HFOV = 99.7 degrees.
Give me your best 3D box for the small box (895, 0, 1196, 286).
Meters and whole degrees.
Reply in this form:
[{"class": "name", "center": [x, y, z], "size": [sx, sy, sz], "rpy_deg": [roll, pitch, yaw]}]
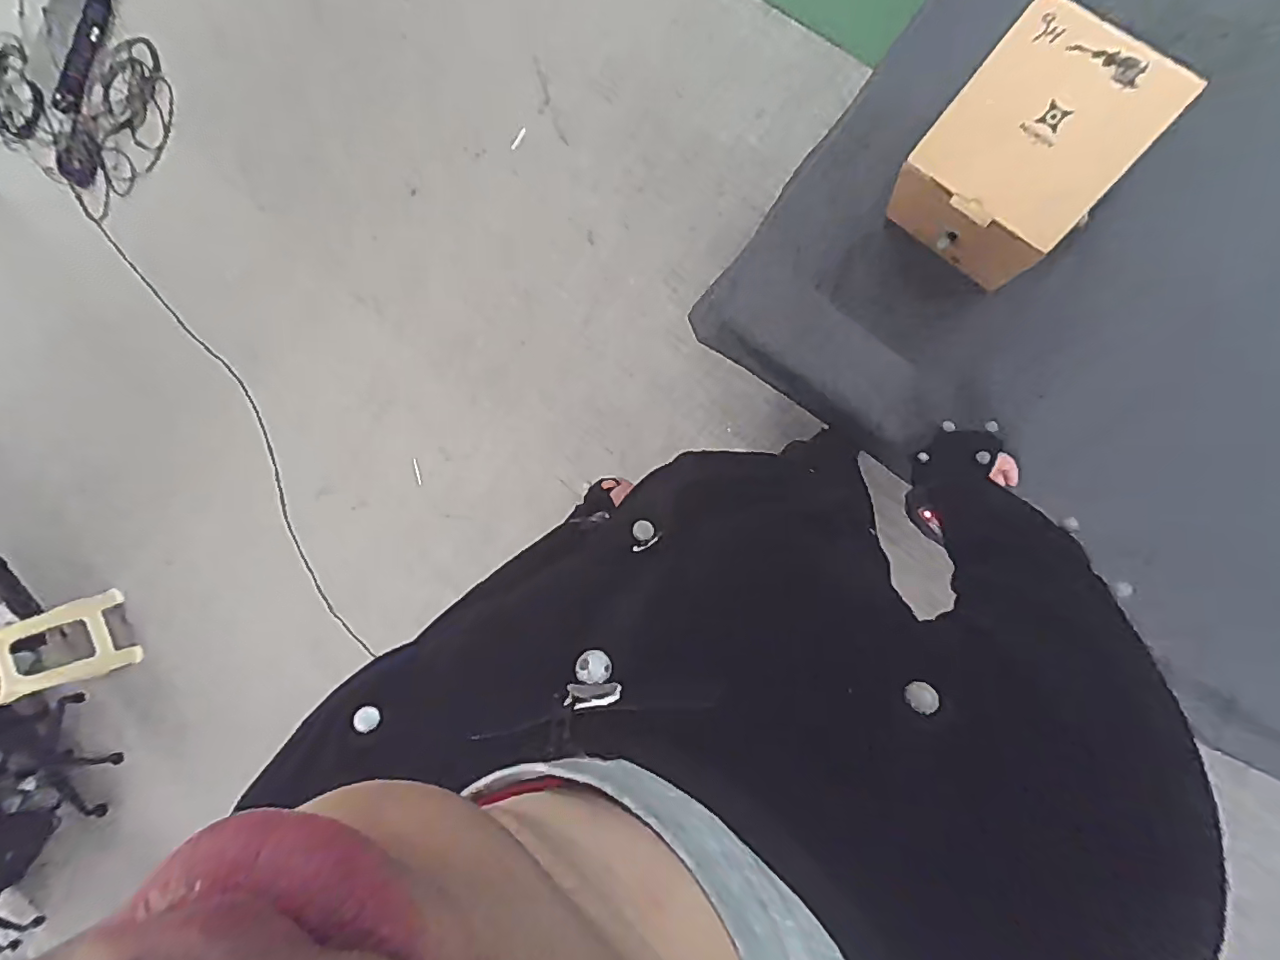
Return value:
[{"class": "small box", "center": [0.401, -0.337, 0.581], "size": [0.168, 0.176, 0.179], "rpy_deg": [42, 108, 9]}]
